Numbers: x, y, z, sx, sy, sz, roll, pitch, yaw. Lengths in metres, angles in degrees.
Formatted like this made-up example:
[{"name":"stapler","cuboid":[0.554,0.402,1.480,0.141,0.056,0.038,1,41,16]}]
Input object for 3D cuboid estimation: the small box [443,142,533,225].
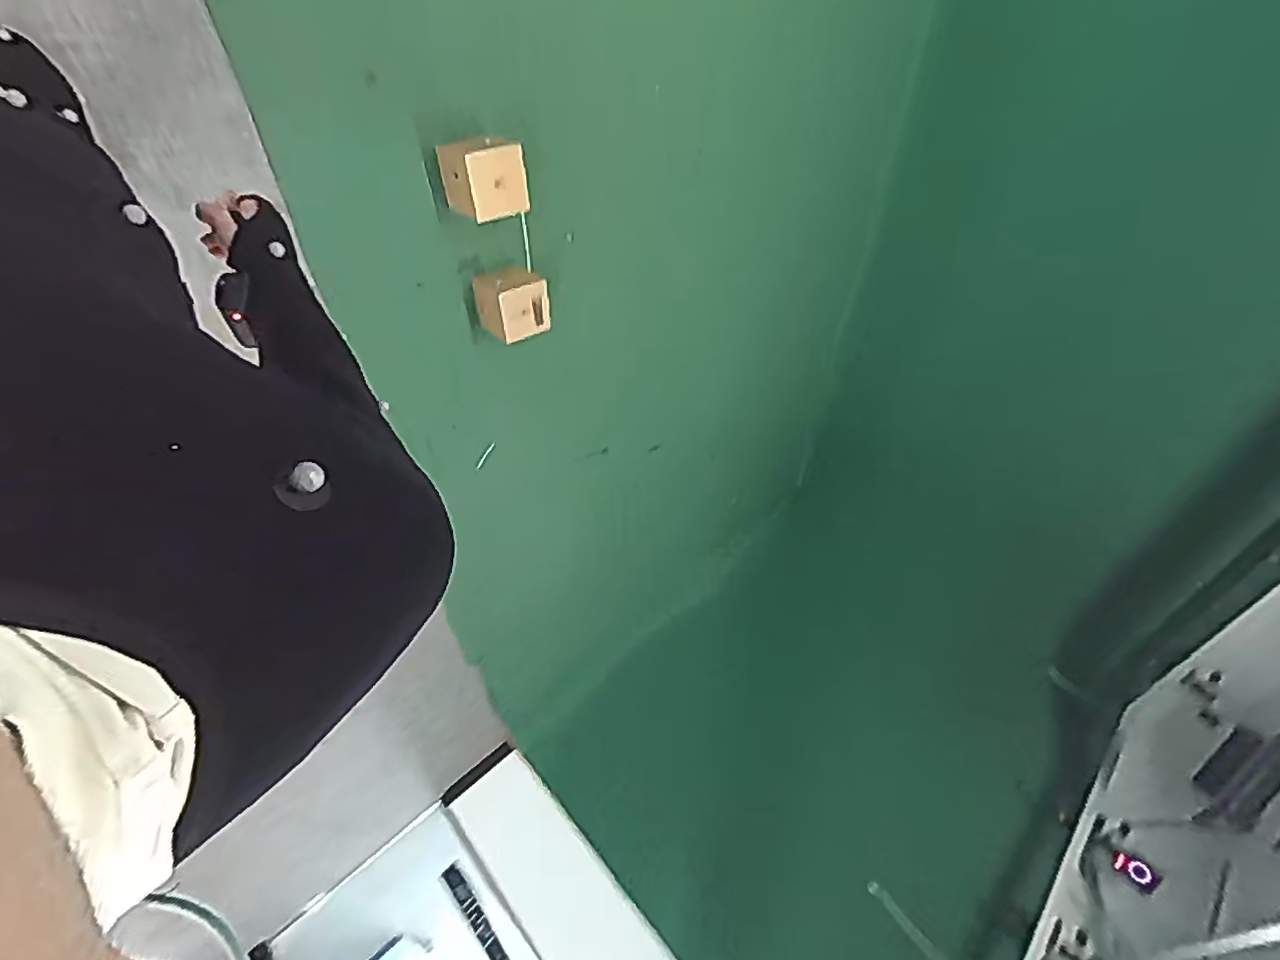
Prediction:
[{"name":"small box","cuboid":[-0.429,-0.830,1.509,0.179,0.176,0.168,-33,140,-30]}]
